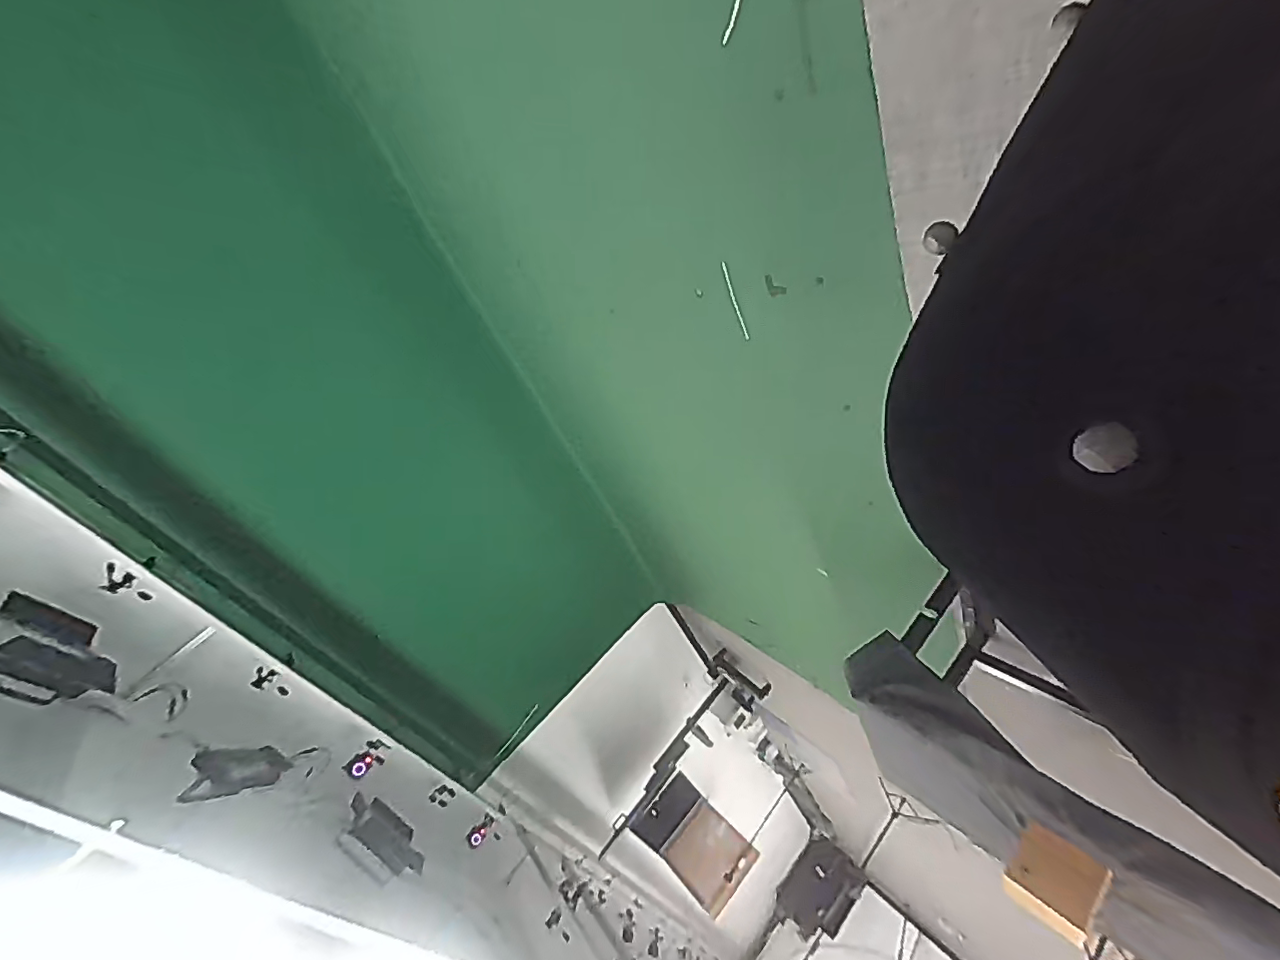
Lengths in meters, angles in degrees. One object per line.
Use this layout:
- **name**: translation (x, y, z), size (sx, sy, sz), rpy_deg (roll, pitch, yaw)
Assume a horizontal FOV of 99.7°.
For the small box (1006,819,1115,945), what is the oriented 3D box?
- **small box**: translation (1.064, 1.012, 1.371), size (0.179, 0.176, 0.168), rpy_deg (24, 151, 49)
